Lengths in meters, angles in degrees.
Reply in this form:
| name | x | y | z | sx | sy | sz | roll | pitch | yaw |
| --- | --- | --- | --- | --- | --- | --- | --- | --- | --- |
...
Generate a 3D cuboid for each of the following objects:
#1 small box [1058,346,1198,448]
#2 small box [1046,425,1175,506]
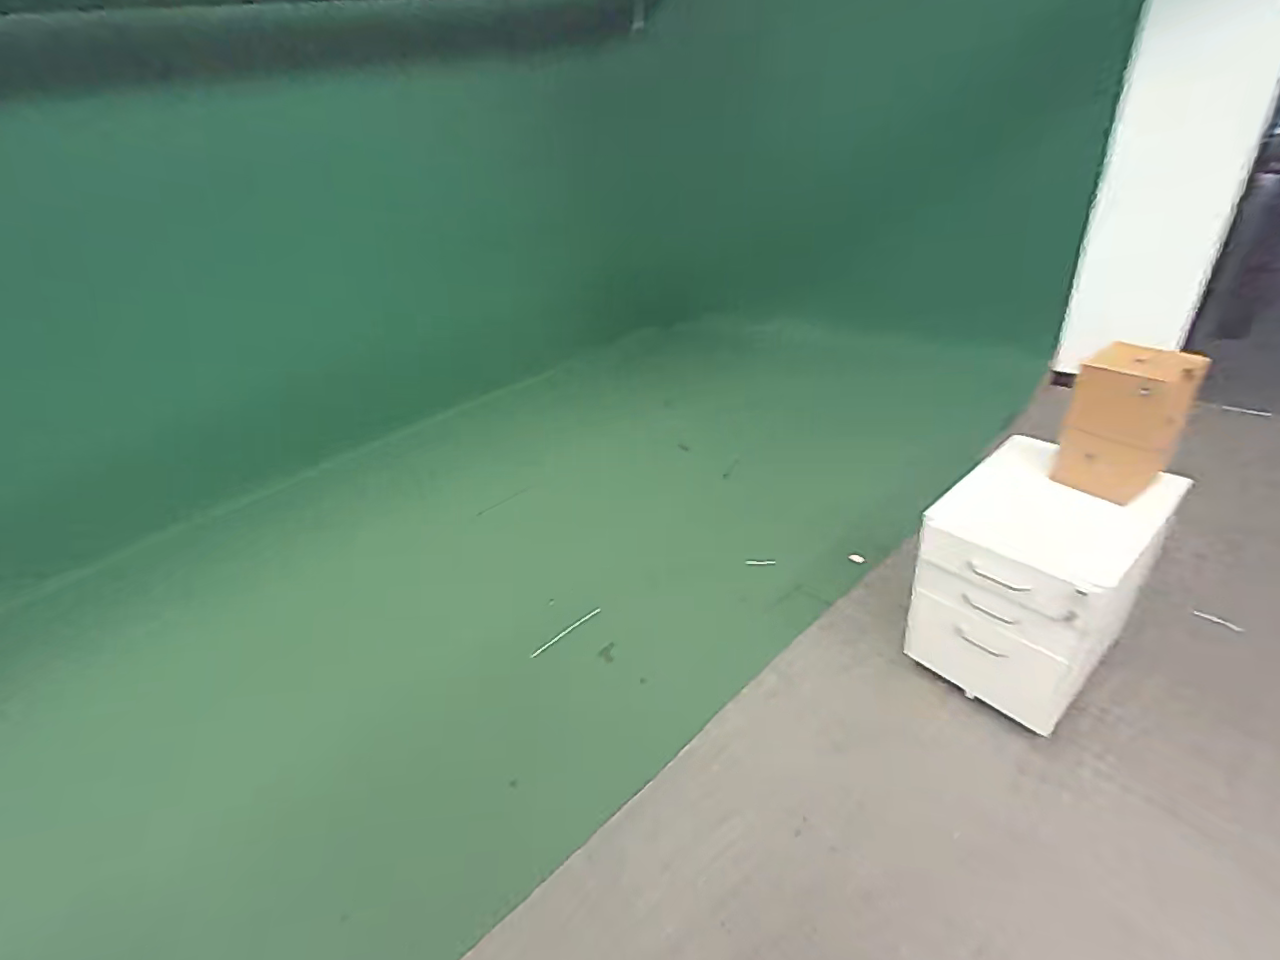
| name | x | y | z | sx | sy | sz | roll | pitch | yaw |
| --- | --- | --- | --- | --- | --- | --- | --- | --- | --- |
| small box | 1.135 | -0.195 | 1.272 | 0.168 | 0.176 | 0.179 | -26 | 36 | -21 |
| small box | 1.168 | -0.060 | 1.358 | 0.168 | 0.176 | 0.179 | -26 | 35 | -20 |
